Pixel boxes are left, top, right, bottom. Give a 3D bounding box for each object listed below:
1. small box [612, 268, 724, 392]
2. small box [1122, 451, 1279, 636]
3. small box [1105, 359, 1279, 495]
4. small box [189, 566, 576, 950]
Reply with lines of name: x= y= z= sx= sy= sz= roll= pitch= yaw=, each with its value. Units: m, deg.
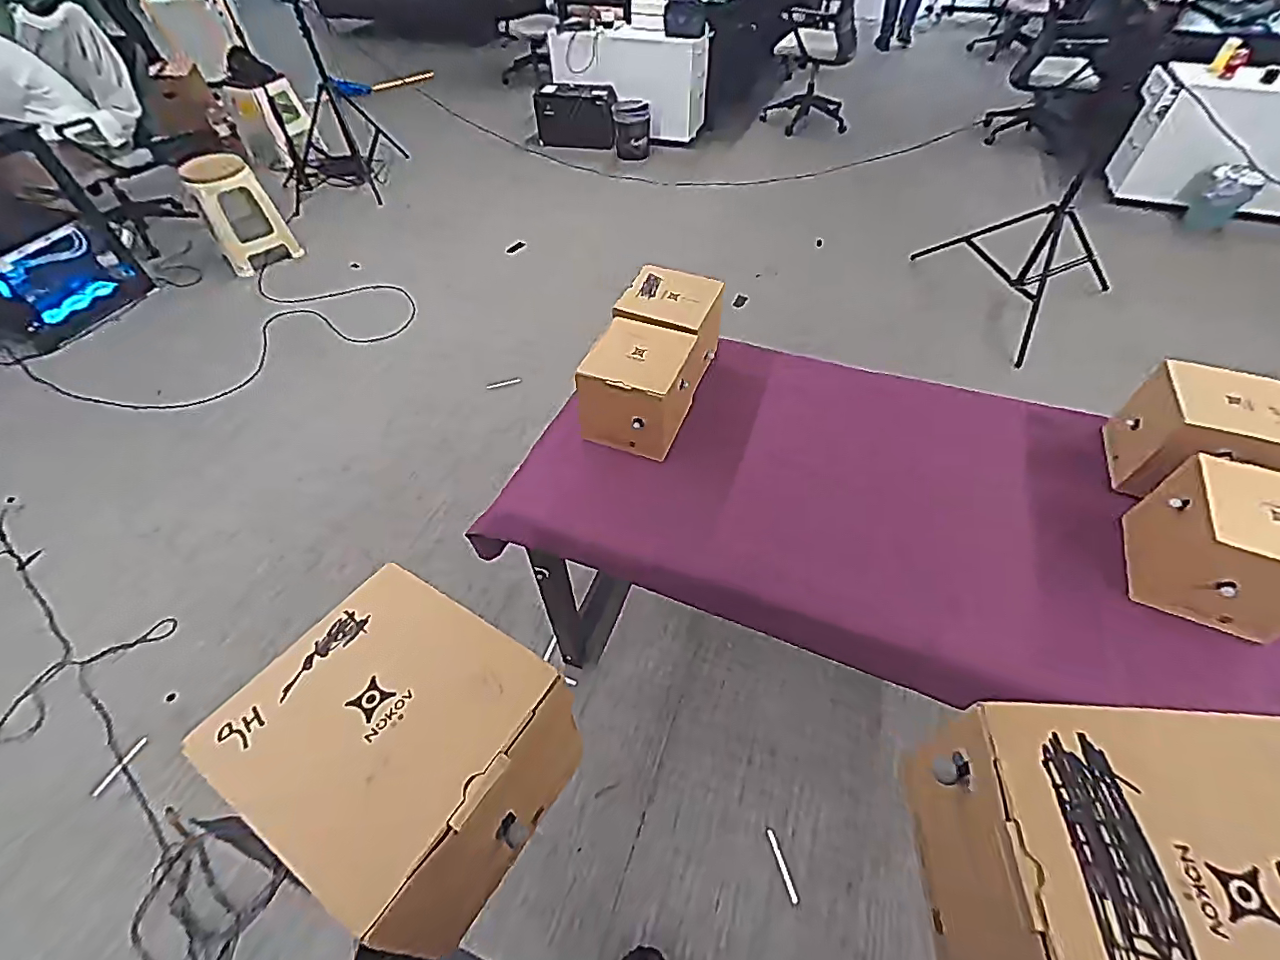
small box: x=0.058 y=-0.306 z=1.116 sx=0.179 sy=0.176 sz=0.168 roll=19 pitch=55 yaw=14
small box: x=0.843 y=0.095 z=0.777 sx=0.168 sy=0.176 sz=0.179 roll=20 pitch=53 yaw=18
small box: x=0.924 y=-0.071 z=0.903 sx=0.179 sy=0.176 sz=0.168 roll=18 pitch=54 yaw=14
small box: x=-0.163 y=0.204 z=0.405 sx=0.179 sy=0.176 sz=0.168 roll=25 pitch=51 yaw=21
